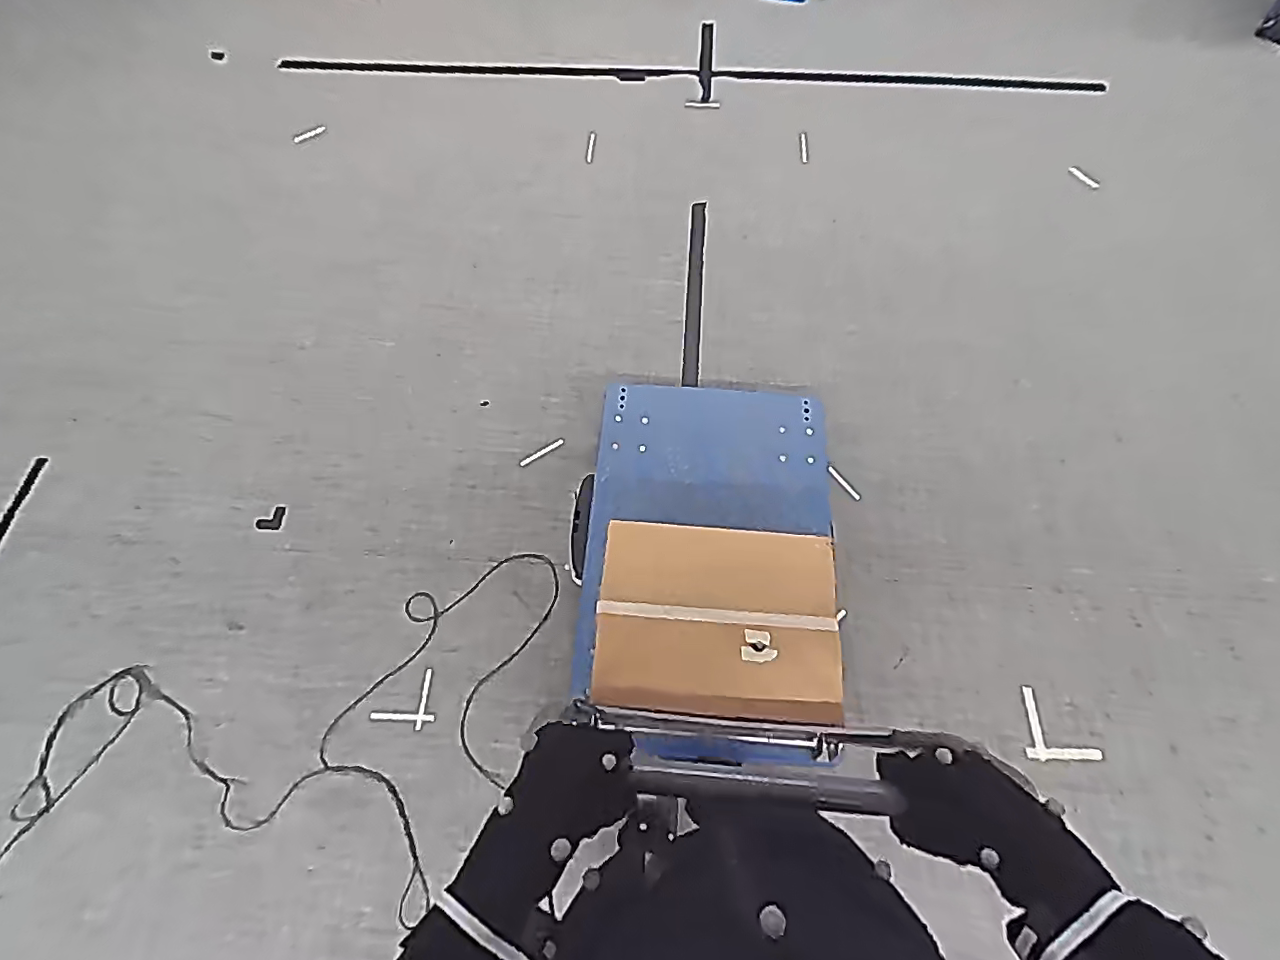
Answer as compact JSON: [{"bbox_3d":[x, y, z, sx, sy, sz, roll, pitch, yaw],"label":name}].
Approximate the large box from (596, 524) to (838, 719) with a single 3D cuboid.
[{"bbox_3d":[0.129,0.294,1.072,0.408,0.320,0.320,4,67,1],"label":"large box"}]
